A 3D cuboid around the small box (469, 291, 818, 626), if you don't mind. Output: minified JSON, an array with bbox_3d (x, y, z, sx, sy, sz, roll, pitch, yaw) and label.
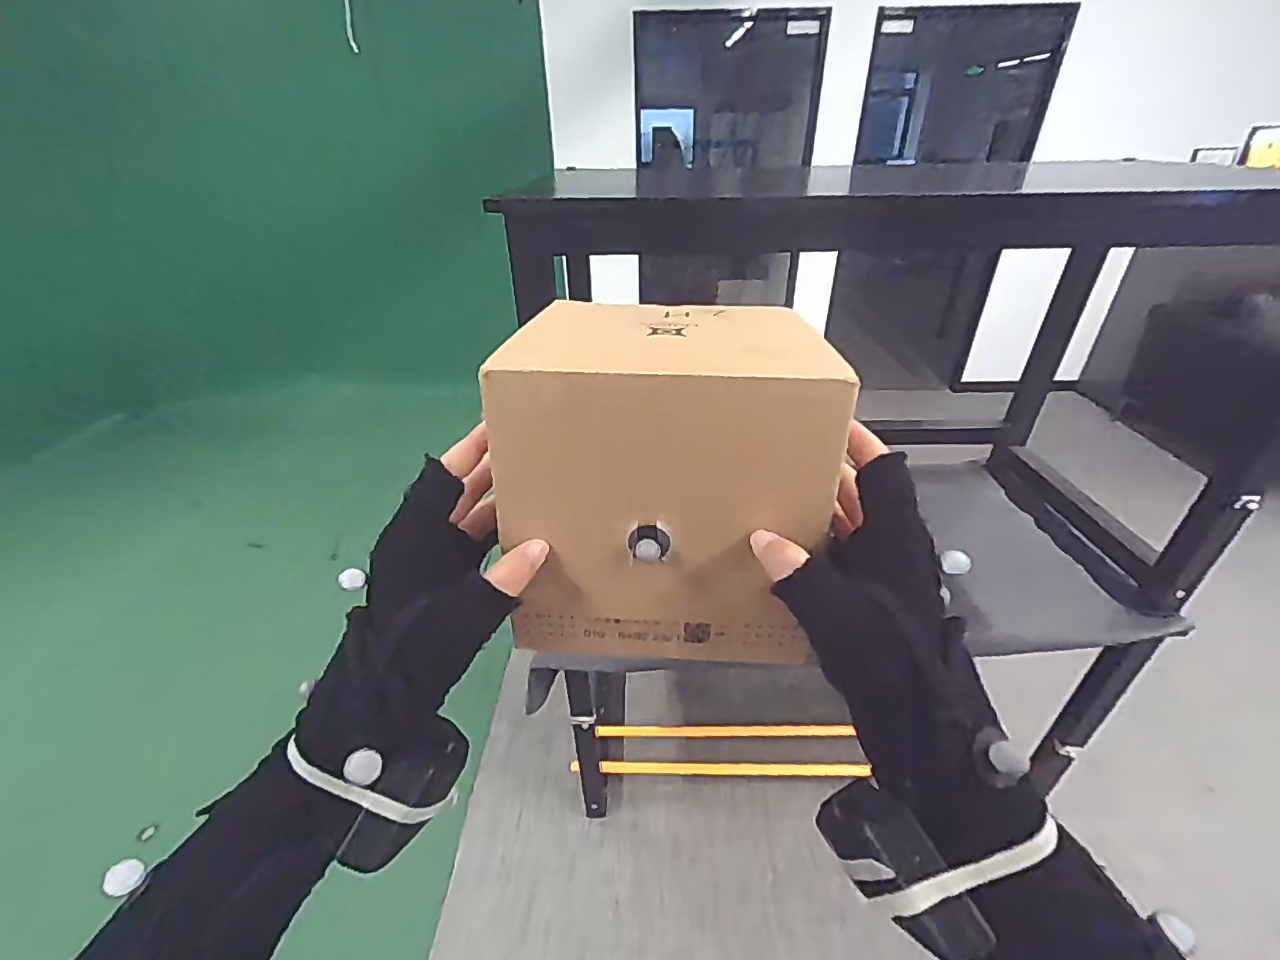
[{"bbox_3d":[0.007,-0.024,0.356,0.168,0.176,0.179,3,27,3],"label":"small box"}]
